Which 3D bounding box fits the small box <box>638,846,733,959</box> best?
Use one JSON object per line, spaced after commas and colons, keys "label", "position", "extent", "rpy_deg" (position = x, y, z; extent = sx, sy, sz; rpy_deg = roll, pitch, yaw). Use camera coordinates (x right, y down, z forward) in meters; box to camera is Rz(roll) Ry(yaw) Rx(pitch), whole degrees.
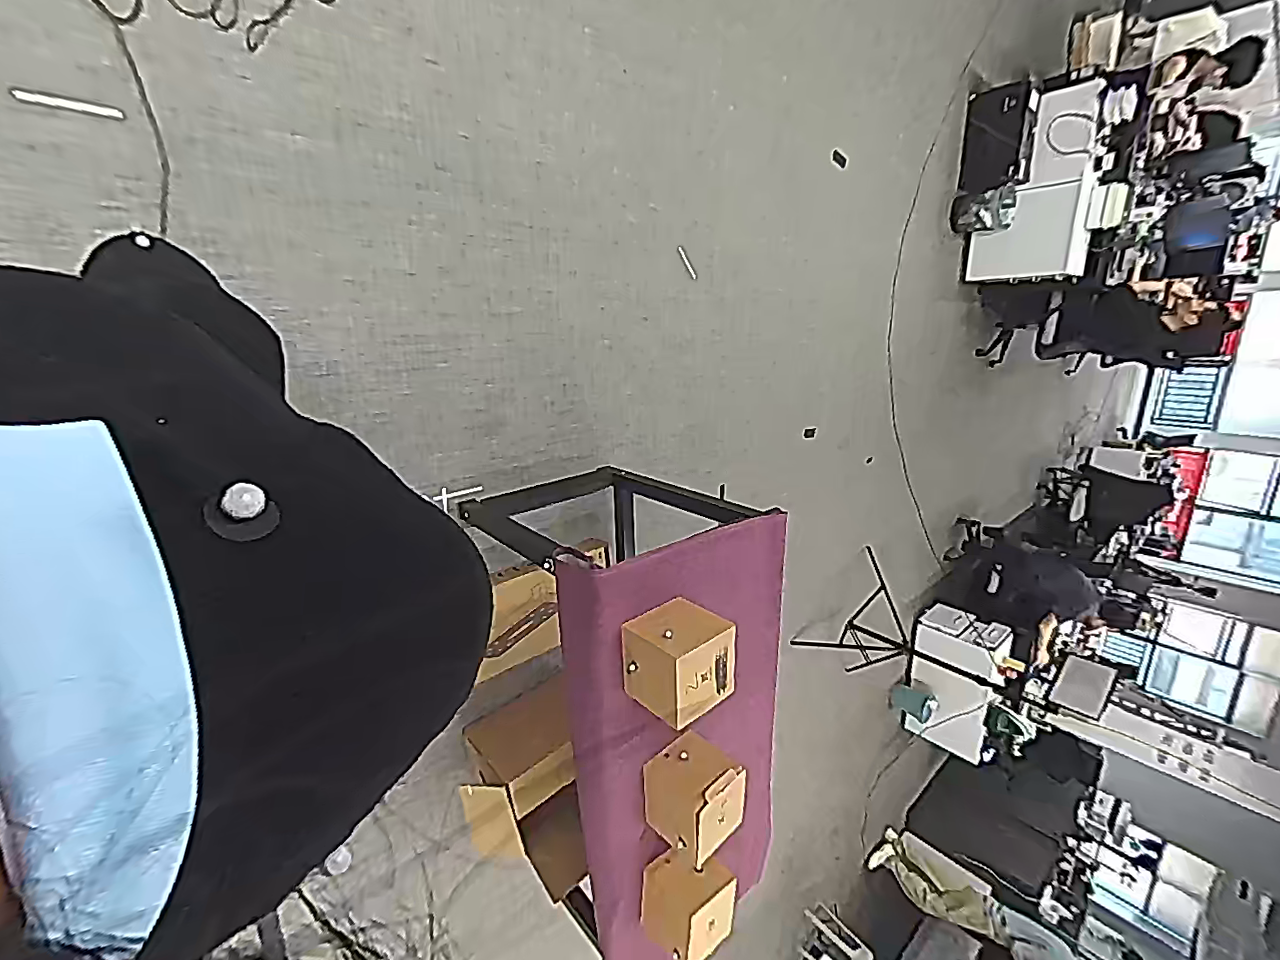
{"label": "small box", "position": [0.111, 1.055, 1.361], "extent": [0.168, 0.176, 0.179], "rpy_deg": [-8, 107, -41]}

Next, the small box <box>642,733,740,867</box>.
{"label": "small box", "position": [0.119, 0.746, 1.282], "extent": [0.168, 0.176, 0.179], "rpy_deg": [-18, 113, -41]}
